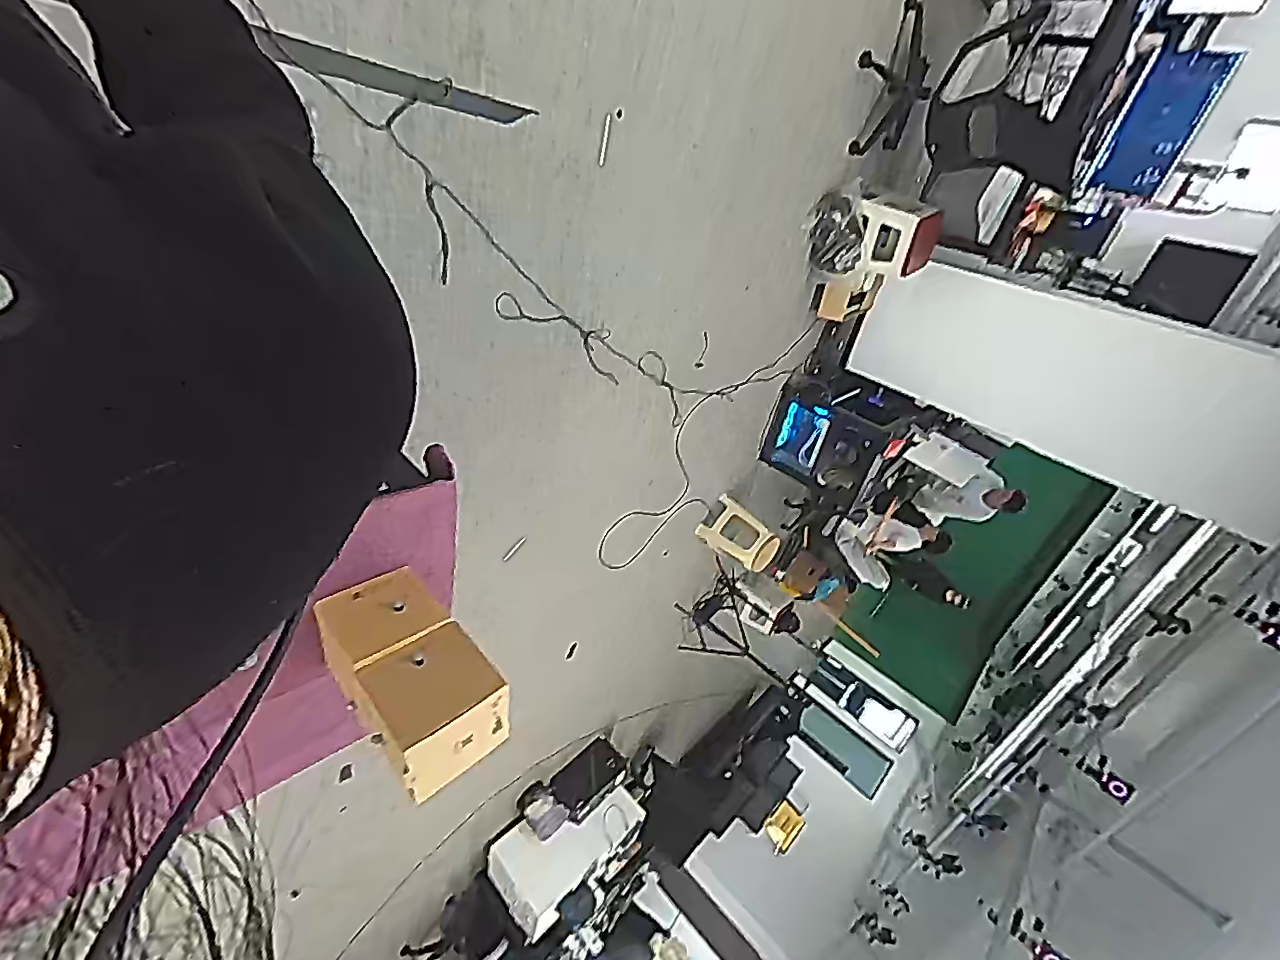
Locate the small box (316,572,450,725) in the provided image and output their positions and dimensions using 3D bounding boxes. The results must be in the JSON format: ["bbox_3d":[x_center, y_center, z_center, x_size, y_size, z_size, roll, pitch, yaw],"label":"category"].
[{"bbox_3d":[-0.459,0.291,0.978,0.168,0.176,0.179,-23,137,-41],"label":"small box"}]

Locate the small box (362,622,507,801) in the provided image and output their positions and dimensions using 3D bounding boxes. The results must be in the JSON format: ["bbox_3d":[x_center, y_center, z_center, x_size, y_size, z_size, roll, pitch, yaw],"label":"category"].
[{"bbox_3d":[-0.342,0.375,0.900,0.179,0.176,0.168,-24,138,-39],"label":"small box"}]
